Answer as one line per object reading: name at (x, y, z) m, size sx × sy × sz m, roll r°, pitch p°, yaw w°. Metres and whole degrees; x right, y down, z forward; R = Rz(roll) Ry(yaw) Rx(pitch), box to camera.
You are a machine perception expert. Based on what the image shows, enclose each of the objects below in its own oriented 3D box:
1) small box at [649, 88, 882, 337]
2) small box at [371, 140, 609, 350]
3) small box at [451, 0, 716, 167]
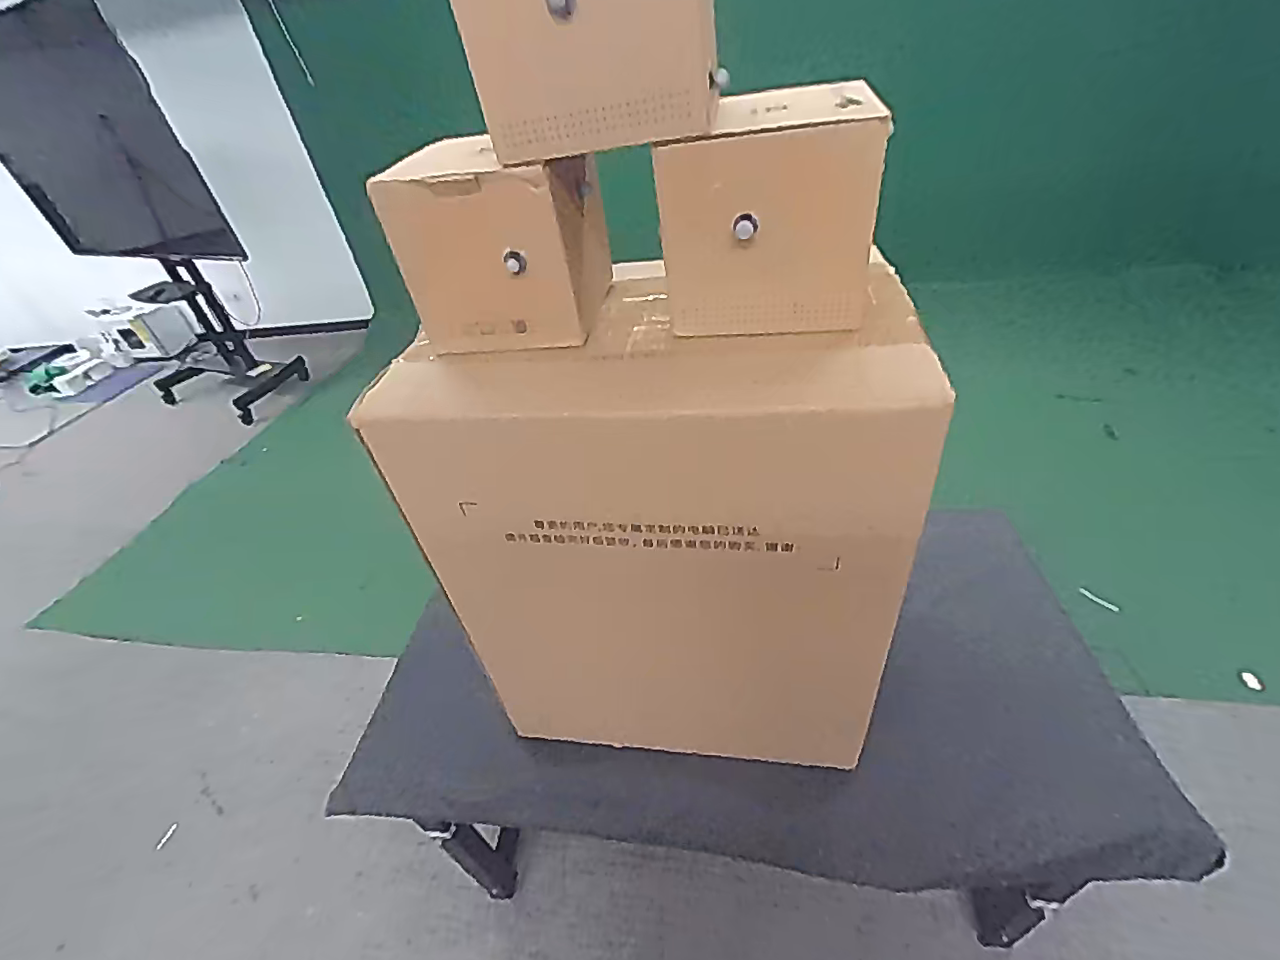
small box at (0.117, -0.248, 0.515) m, size 0.179 × 0.176 × 0.168 m, roll 0°, pitch 43°, yaw 13°
small box at (-0.134, -0.247, 0.567) m, size 0.168 × 0.176 × 0.179 m, roll 1°, pitch 41°, yaw 10°
small box at (-0.032, -0.370, 0.433) m, size 0.179 × 0.176 × 0.168 m, roll -2°, pitch 42°, yaw 12°
